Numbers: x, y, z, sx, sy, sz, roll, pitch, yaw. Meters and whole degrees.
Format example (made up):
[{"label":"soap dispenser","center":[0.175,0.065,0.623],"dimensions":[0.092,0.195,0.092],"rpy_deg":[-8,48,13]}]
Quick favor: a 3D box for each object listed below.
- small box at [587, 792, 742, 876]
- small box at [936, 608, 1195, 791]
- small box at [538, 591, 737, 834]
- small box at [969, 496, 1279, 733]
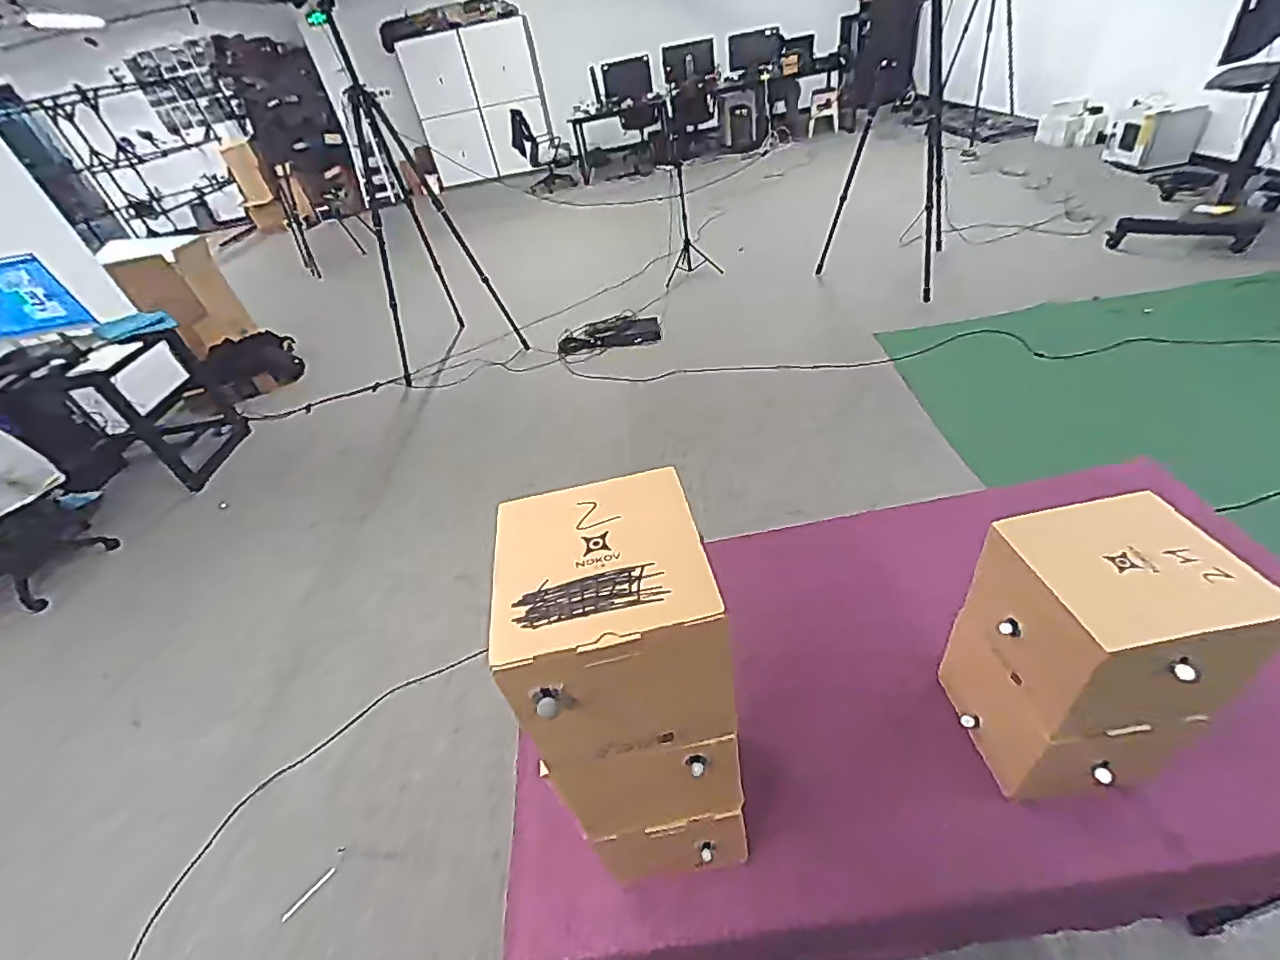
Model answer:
[{"label":"small box","center":[0.028,0.372,0.683],"dimensions":[0.168,0.176,0.179],"rpy_deg":[-11,39,0]},{"label":"small box","center":[0.507,0.269,0.682],"dimensions":[0.168,0.176,0.179],"rpy_deg":[-10,40,2]},{"label":"small box","center":[-0.002,0.250,0.580],"dimensions":[0.179,0.176,0.168],"rpy_deg":[-12,40,-2]},{"label":"small box","center":[0.482,0.145,0.575],"dimensions":[0.179,0.176,0.168],"rpy_deg":[-11,40,2]}]
